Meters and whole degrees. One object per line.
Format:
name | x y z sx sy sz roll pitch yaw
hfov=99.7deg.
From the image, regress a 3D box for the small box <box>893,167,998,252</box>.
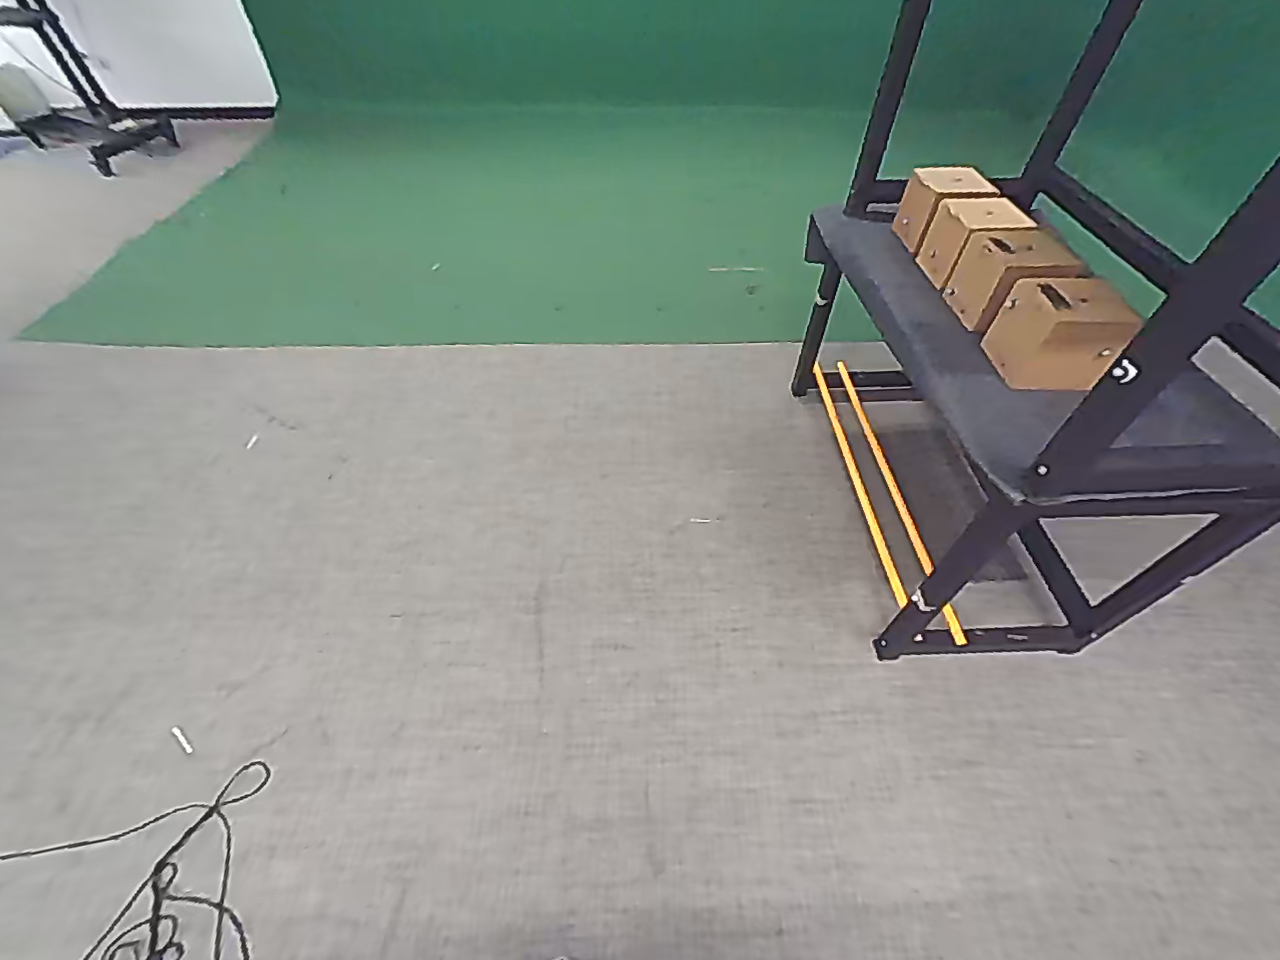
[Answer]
small box | 0.857 -0.765 1.535 0.179 0.176 0.168 -3 50 -2
